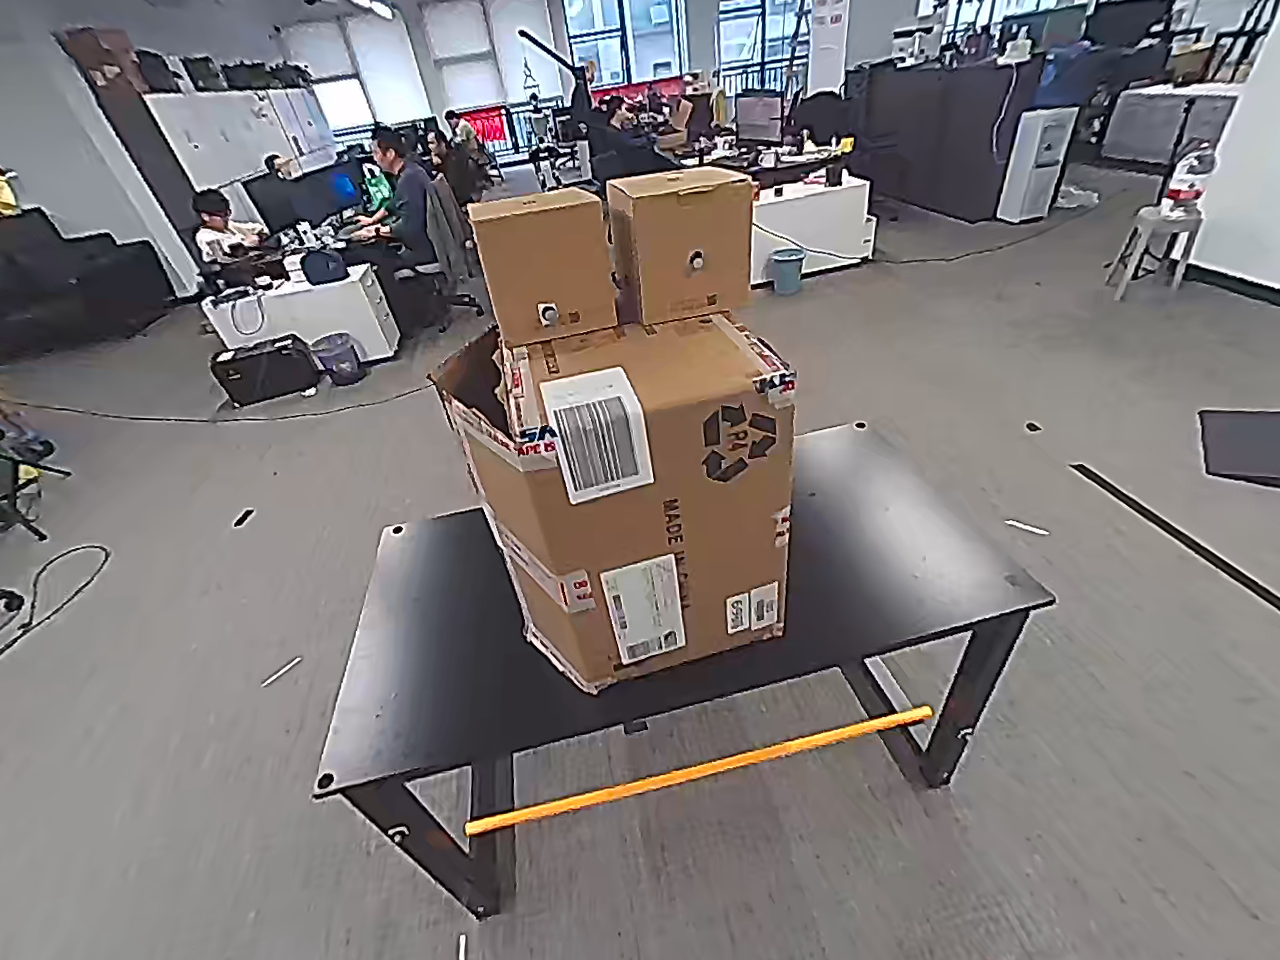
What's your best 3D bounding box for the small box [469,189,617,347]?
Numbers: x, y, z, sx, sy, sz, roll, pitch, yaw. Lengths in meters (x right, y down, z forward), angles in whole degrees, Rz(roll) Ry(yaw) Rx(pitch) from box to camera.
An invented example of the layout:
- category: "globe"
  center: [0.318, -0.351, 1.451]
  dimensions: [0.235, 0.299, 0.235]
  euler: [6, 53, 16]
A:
- category: "small box"
  center: [-0.141, -0.311, 0.788]
  dimensions: [0.168, 0.176, 0.179]
  euler: [-16, 37, -10]
